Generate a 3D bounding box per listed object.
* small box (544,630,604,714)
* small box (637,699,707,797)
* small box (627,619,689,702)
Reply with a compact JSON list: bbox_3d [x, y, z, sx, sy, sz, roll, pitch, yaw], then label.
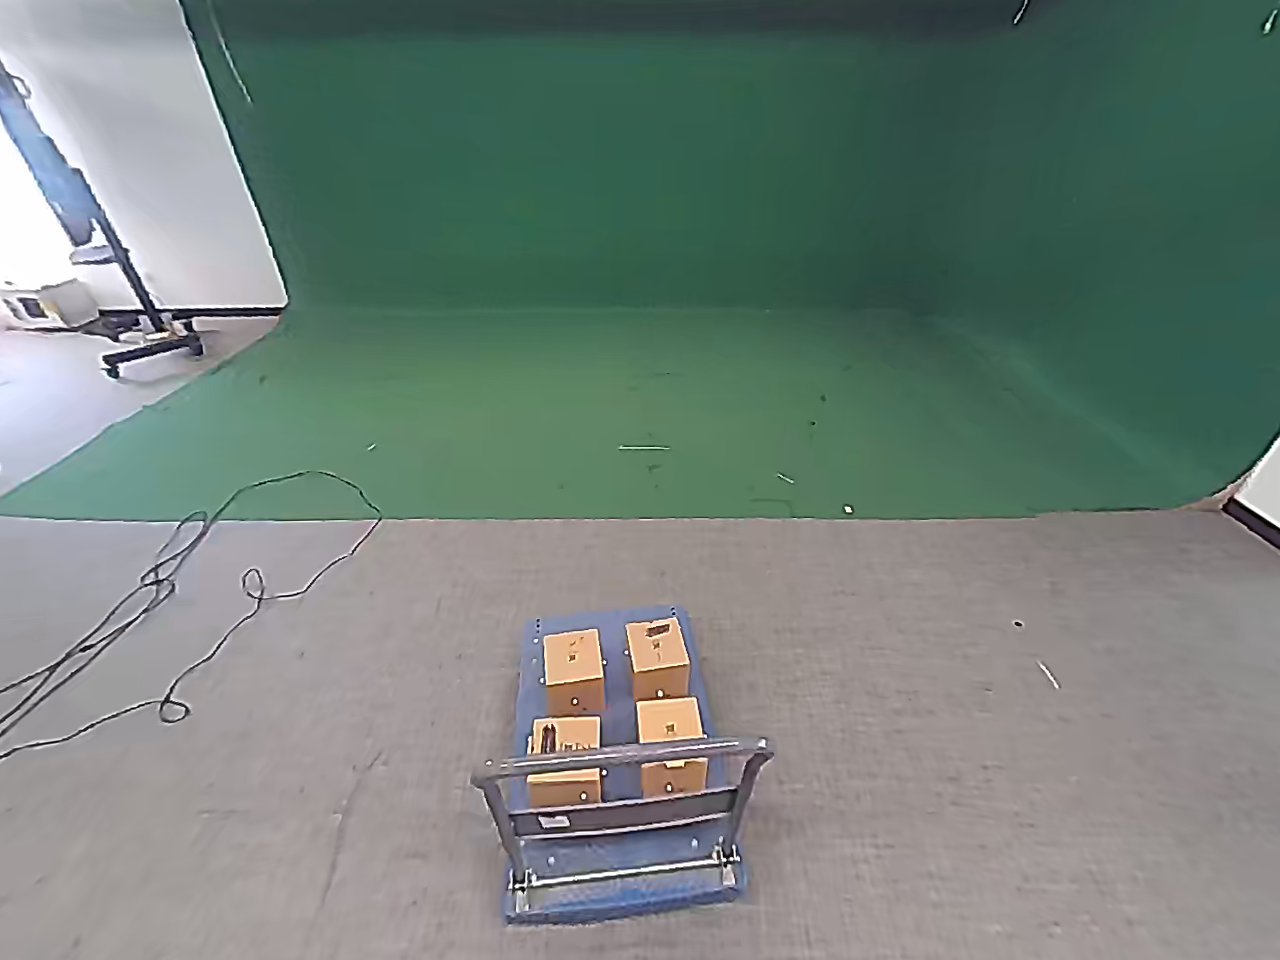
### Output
[{"bbox_3d":[-0.198,0.581,1.627,0.168,0.176,0.179,-5,36,-8],"label":"small box"},{"bbox_3d":[0.078,0.715,1.444,0.168,0.176,0.179,-3,36,-4],"label":"small box"},{"bbox_3d":[0.050,0.556,1.661,0.168,0.176,0.179,-6,37,-7],"label":"small box"}]
